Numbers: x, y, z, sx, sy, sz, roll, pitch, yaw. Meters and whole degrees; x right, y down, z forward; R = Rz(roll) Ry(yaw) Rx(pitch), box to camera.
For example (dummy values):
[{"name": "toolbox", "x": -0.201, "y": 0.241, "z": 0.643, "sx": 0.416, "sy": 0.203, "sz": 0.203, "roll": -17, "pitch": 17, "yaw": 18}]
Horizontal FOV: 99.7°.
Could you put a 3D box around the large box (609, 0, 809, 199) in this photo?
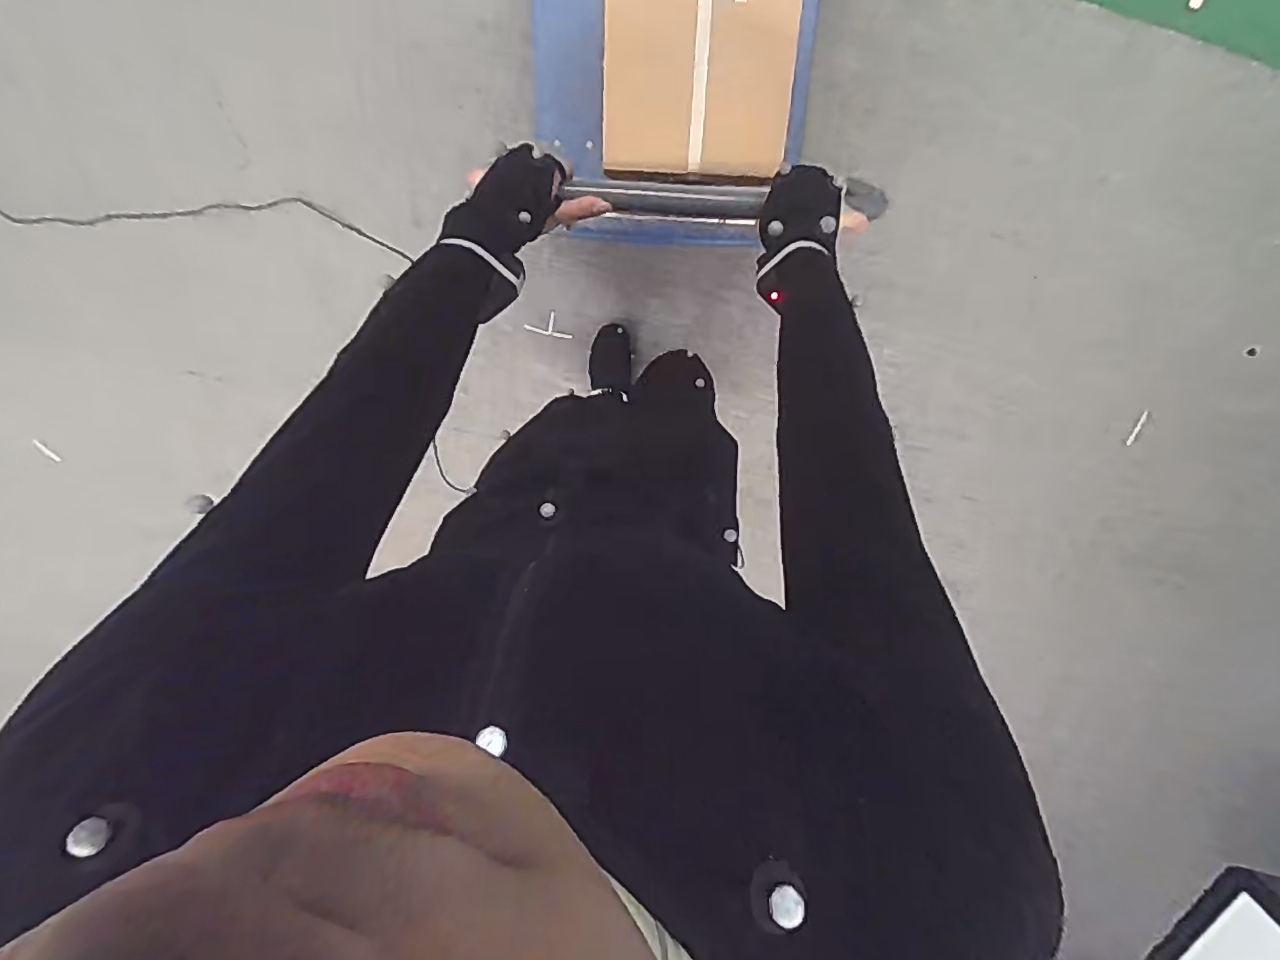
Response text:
[{"name": "large box", "x": 0.112, "y": -0.762, "z": 0.996, "sx": 0.320, "sy": 0.320, "sz": 0.408, "roll": 3, "pitch": 110, "yaw": -1}]
